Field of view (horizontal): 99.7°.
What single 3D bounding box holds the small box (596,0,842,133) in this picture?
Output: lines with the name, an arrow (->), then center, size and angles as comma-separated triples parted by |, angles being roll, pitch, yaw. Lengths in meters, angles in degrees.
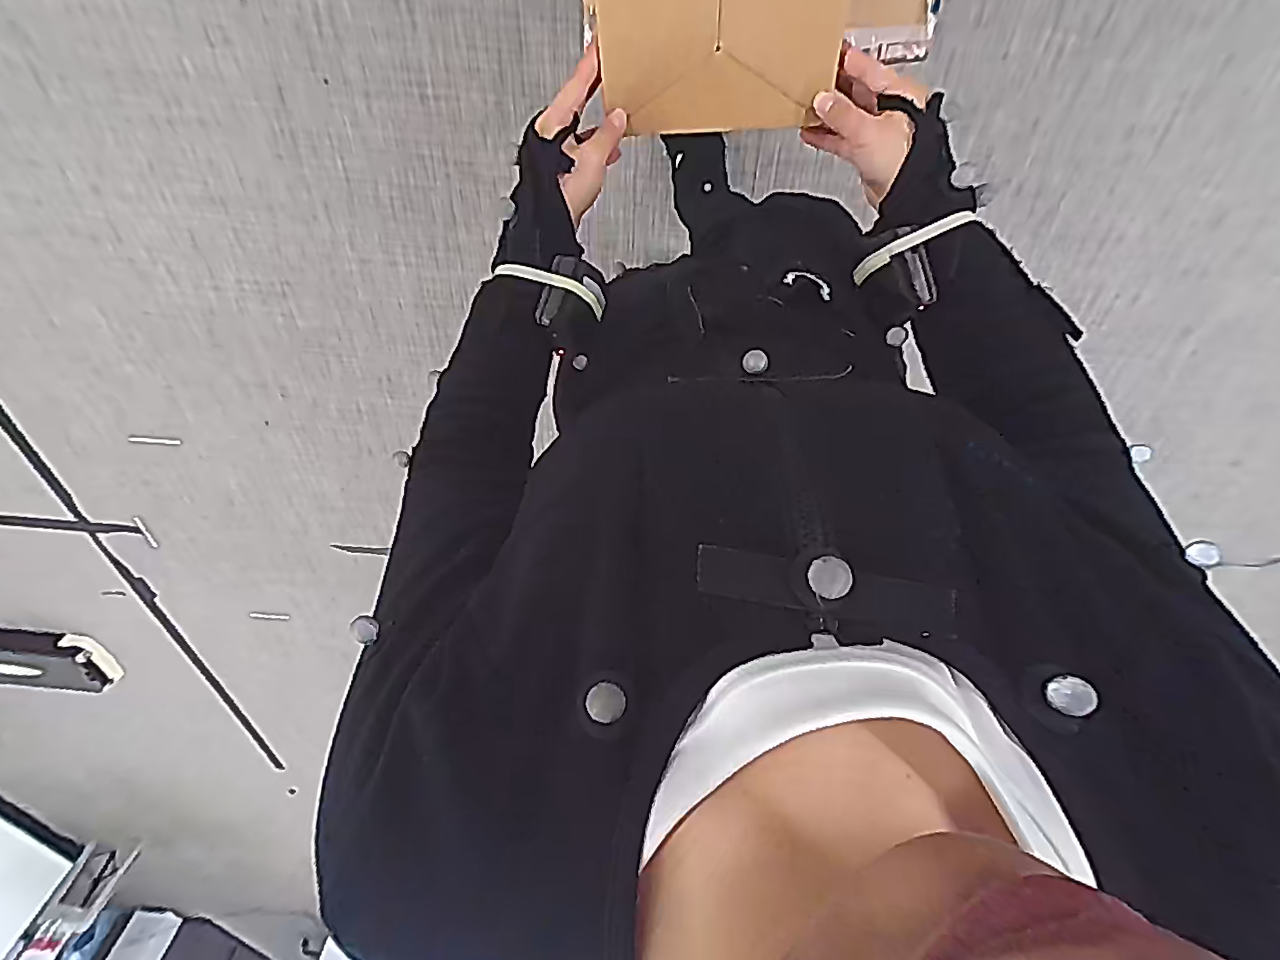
small box -> 0.056, -0.394, 0.429 | 0.179, 0.176, 0.168 | 0, 137, 4
